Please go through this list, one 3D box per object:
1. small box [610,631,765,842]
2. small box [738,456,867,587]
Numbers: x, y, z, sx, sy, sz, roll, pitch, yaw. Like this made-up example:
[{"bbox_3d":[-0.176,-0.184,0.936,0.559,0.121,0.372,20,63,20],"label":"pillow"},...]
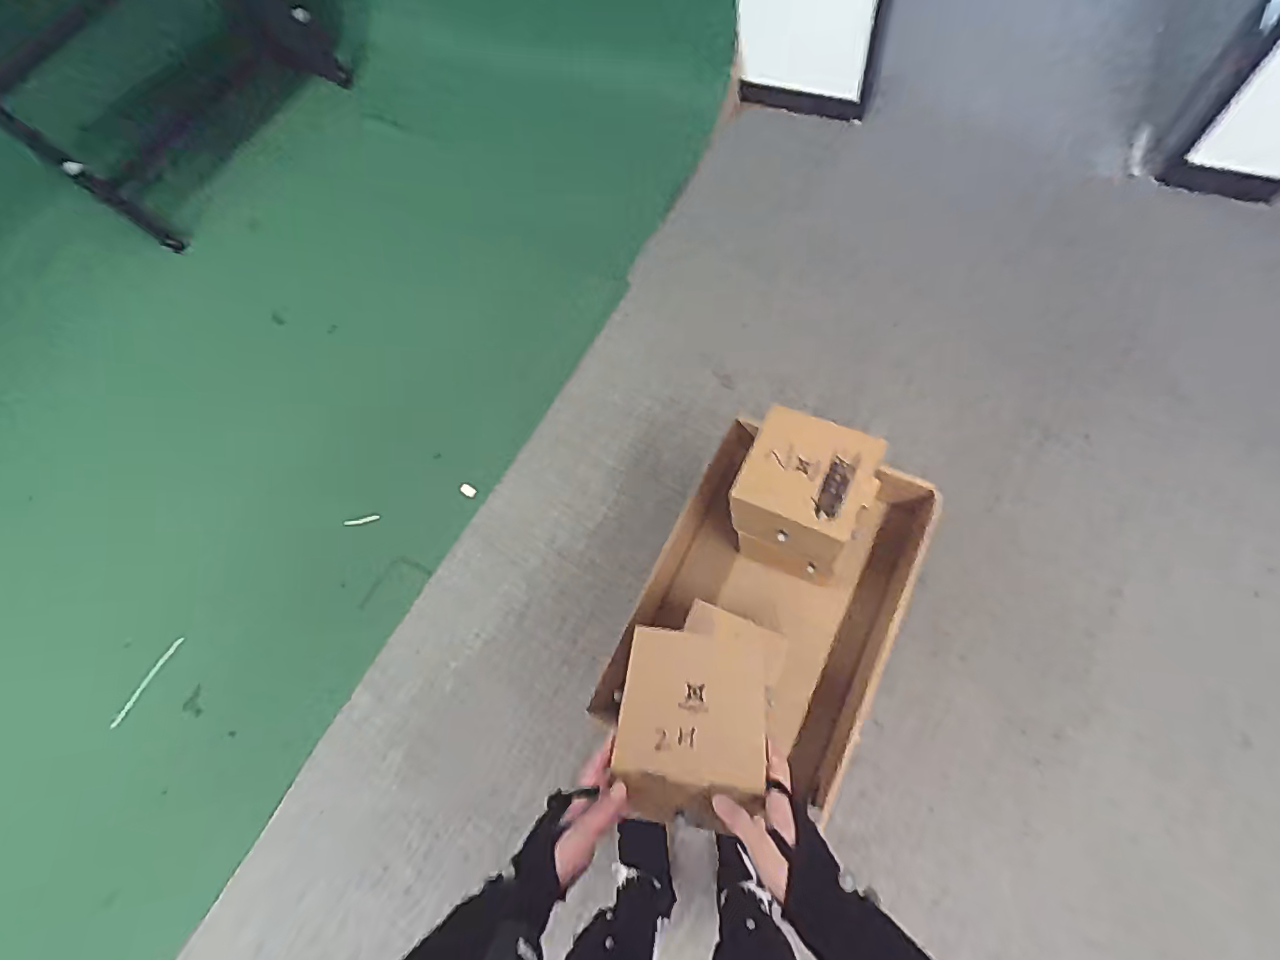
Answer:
[{"bbox_3d":[0.059,0.317,0.672,0.168,0.176,0.179,5,44,6],"label":"small box"},{"bbox_3d":[0.292,0.083,0.997,0.179,0.176,0.168,20,73,17],"label":"small box"}]
